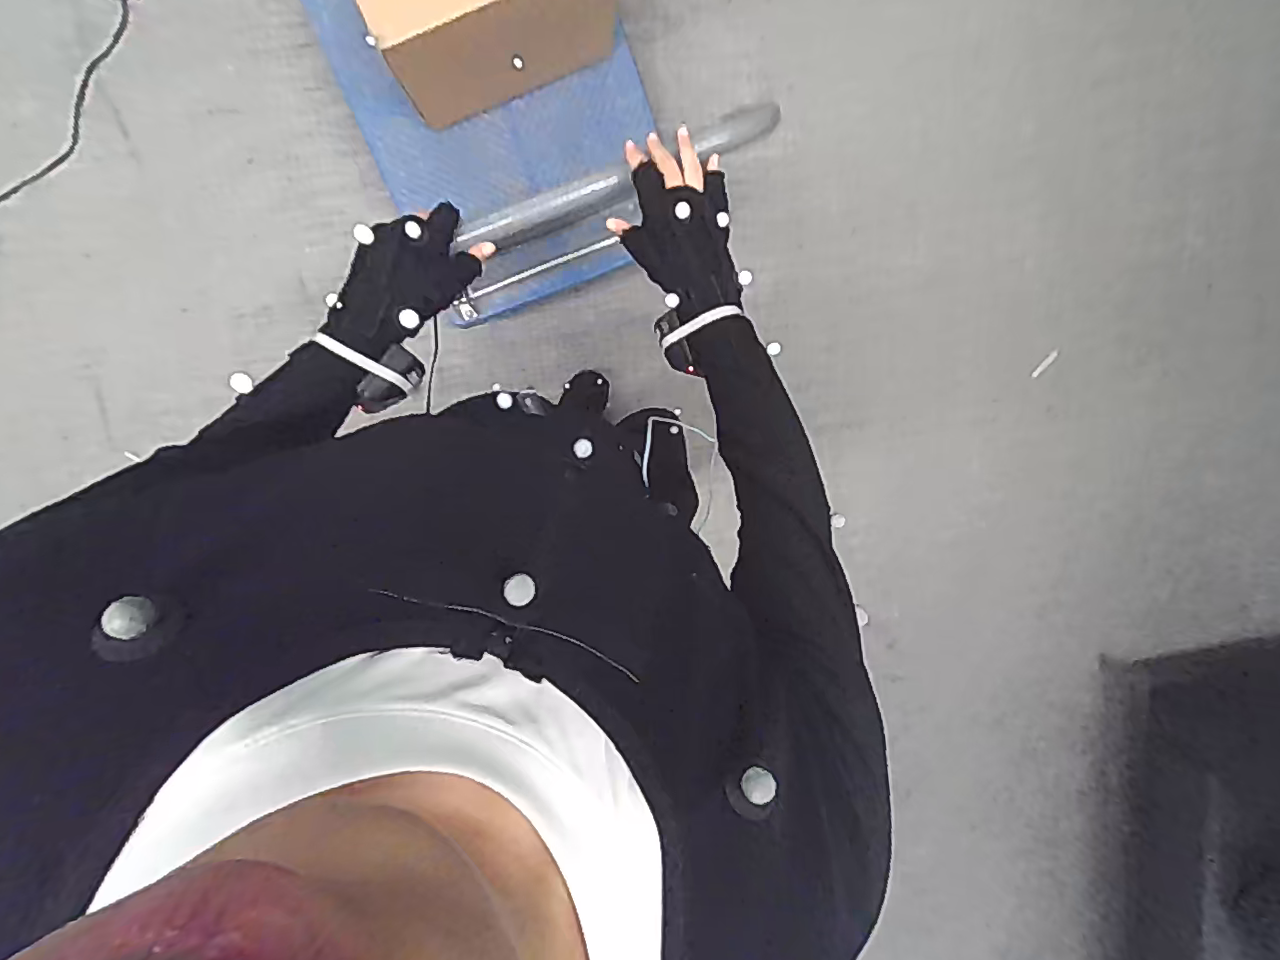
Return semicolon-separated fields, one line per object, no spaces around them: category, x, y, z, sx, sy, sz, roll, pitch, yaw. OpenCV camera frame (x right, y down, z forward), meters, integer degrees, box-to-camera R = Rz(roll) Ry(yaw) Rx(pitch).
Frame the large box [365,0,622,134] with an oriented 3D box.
large box;-0.272;-0.895;0.940;0.408;0.320;0.320;-24;103;1
